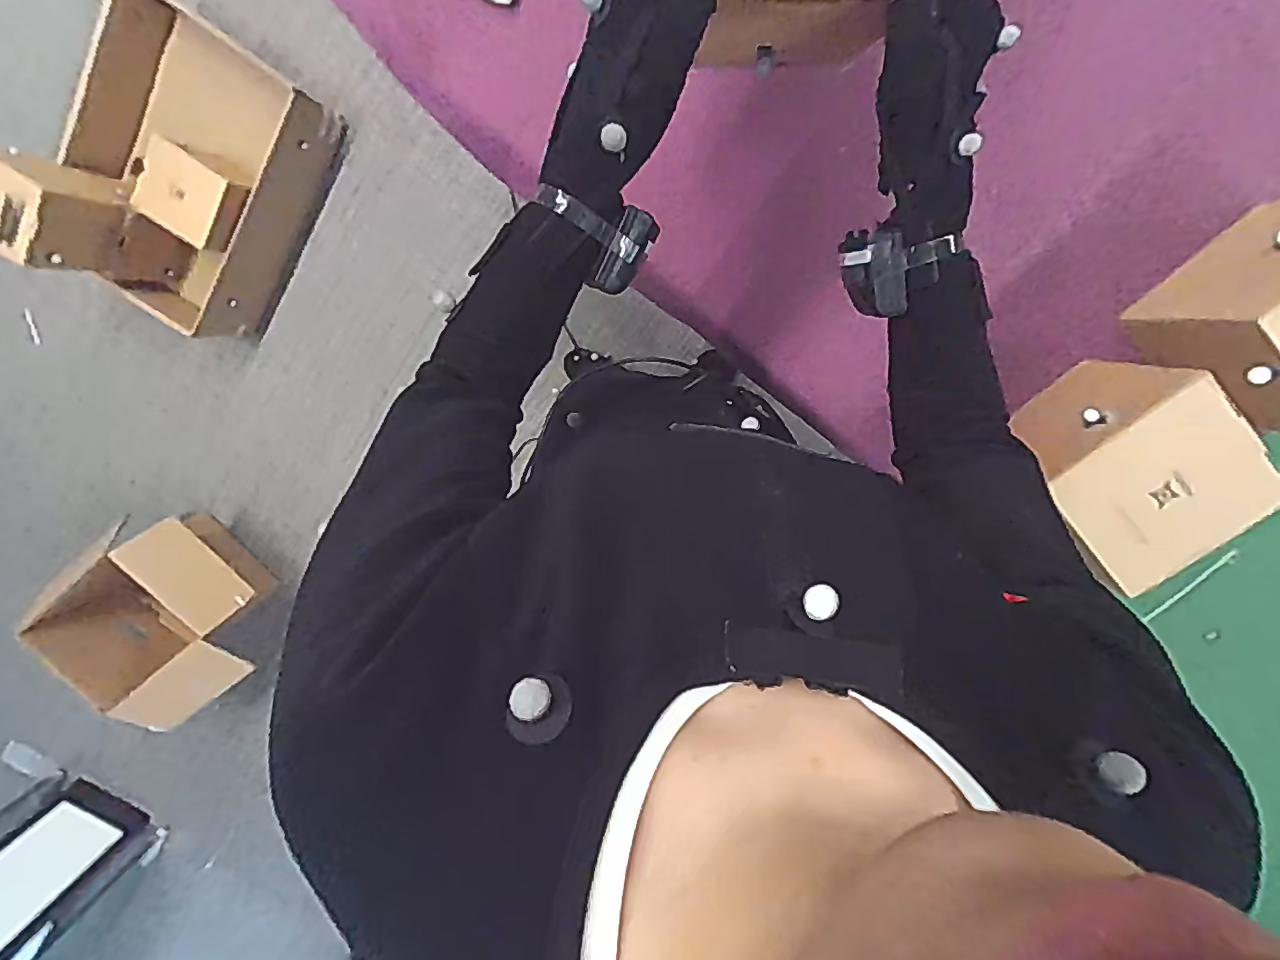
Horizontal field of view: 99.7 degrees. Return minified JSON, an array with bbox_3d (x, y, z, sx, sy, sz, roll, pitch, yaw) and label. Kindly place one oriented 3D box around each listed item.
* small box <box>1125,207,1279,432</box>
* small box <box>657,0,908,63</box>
[{"bbox_3d":[0.675,-0.169,0.553,0.179,0.176,0.168,-43,100,14],"label":"small box"},{"bbox_3d":[0.098,-0.417,0.367,0.168,0.176,0.179,1,115,0],"label":"small box"}]
